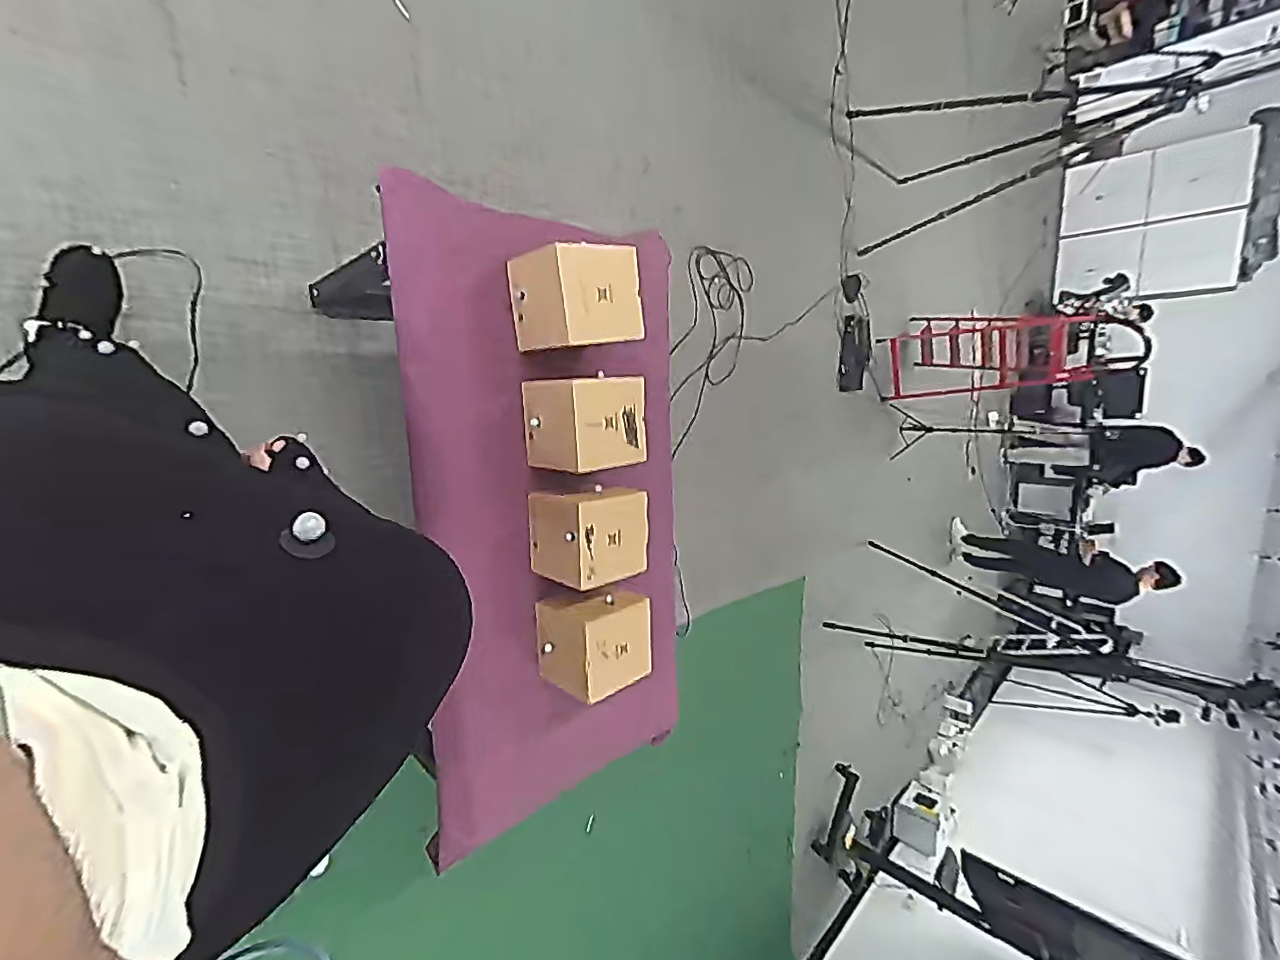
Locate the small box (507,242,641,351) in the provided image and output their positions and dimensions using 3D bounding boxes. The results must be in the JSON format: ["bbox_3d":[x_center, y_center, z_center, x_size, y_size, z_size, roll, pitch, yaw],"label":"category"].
[{"bbox_3d":[-0.121,-0.333,1.007,0.179,0.176,0.168,-17,107,-41],"label":"small box"}]

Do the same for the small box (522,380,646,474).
[{"bbox_3d":[-0.108,-0.110,1.052,0.179,0.176,0.168,-11,104,-42],"label":"small box"}]

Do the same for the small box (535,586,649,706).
[{"bbox_3d":[-0.099,0.331,1.123,0.179,0.176,0.168,-9,102,-43],"label":"small box"}]
